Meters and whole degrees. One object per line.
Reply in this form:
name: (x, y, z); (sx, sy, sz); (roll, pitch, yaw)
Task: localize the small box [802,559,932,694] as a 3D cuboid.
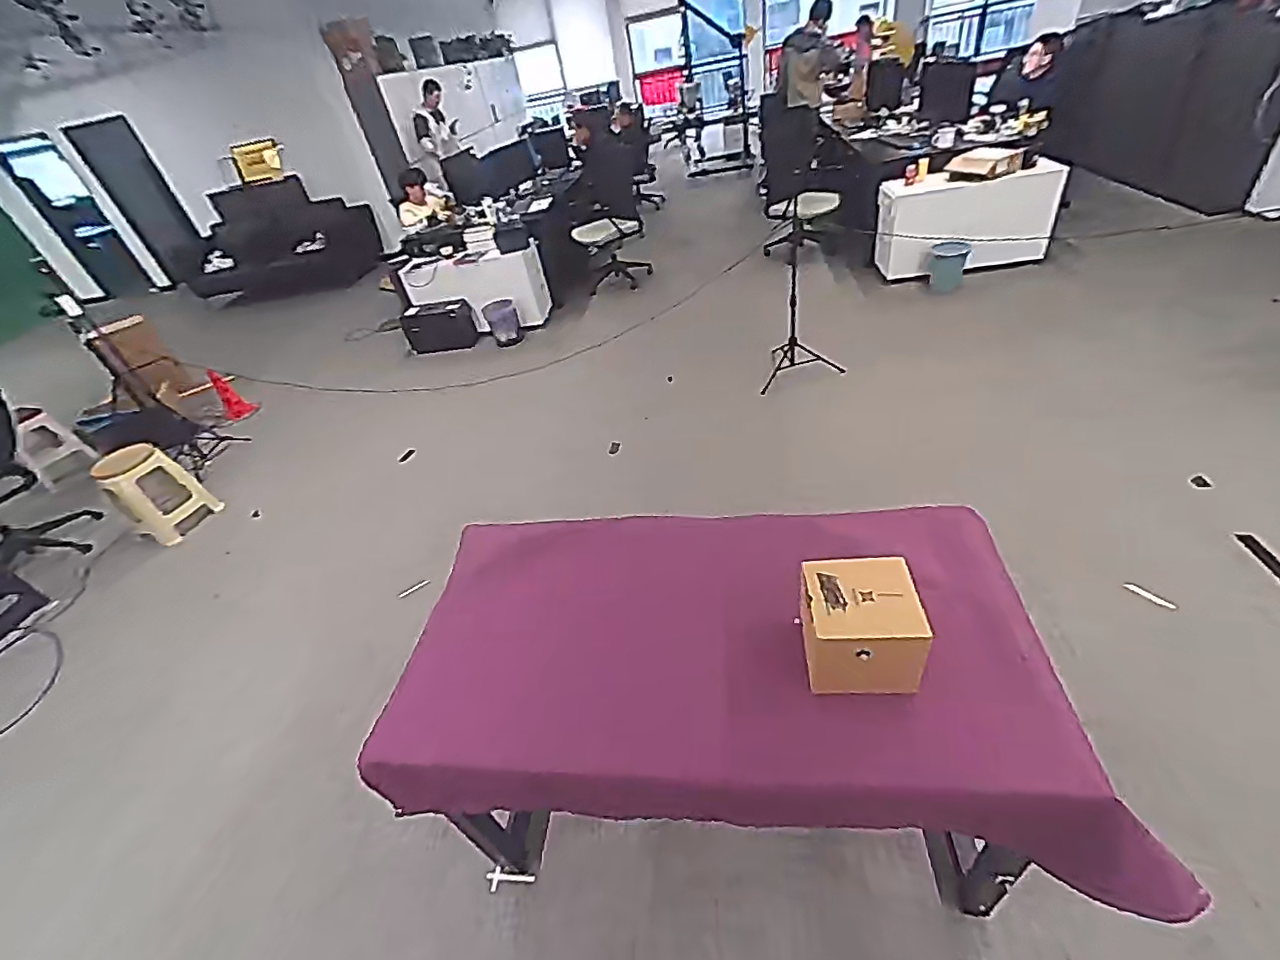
small box: (0.384, 0.258, 0.947); (0.179, 0.176, 0.168); (-4, 39, 10)
